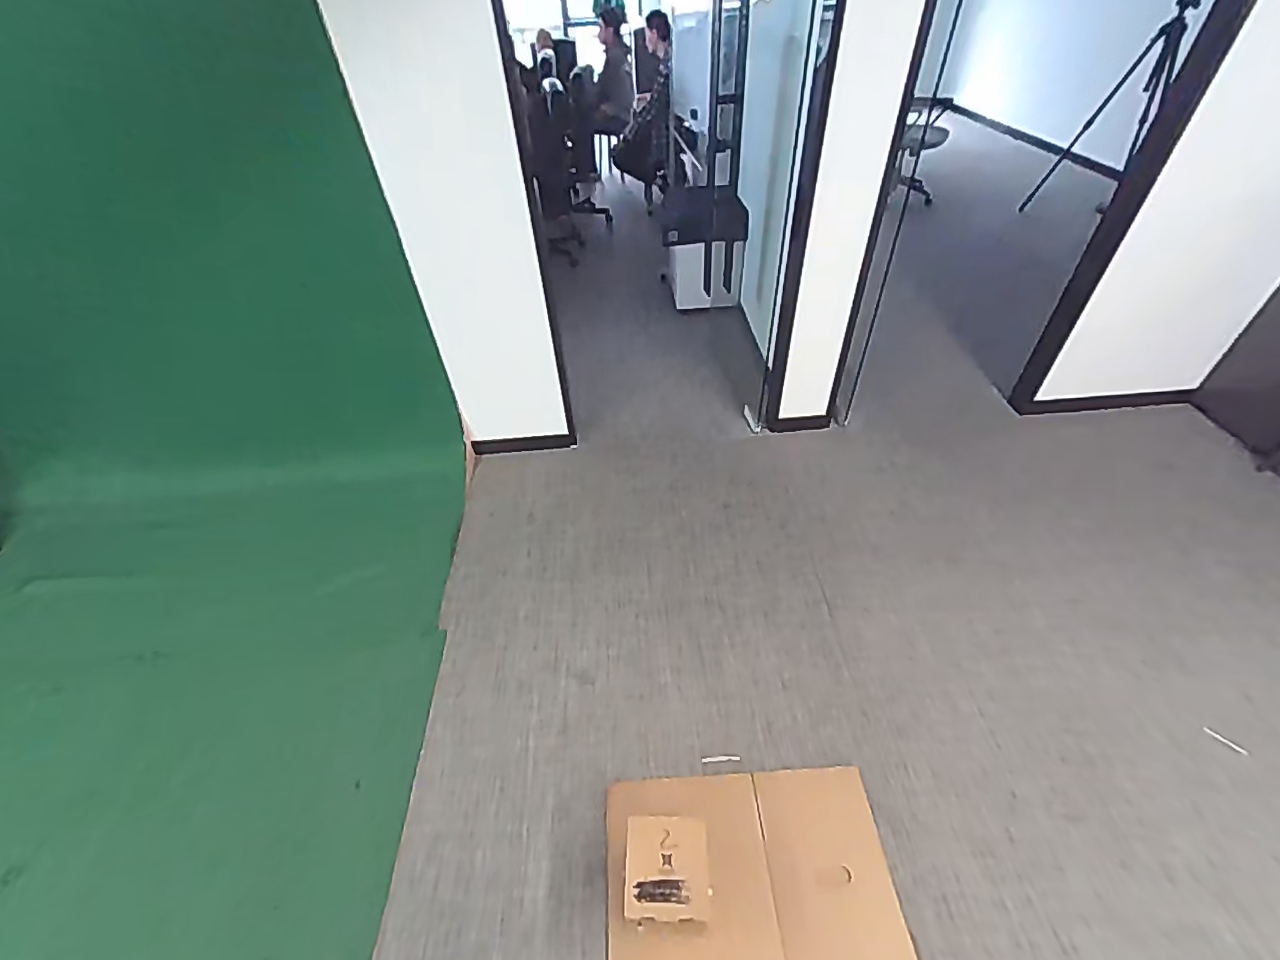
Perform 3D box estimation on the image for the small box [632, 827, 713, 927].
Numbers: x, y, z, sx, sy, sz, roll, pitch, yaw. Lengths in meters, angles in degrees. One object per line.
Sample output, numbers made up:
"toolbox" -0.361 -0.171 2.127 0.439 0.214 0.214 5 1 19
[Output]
"small box" 0.078 0.933 1.268 0.179 0.176 0.168 0 45 3
